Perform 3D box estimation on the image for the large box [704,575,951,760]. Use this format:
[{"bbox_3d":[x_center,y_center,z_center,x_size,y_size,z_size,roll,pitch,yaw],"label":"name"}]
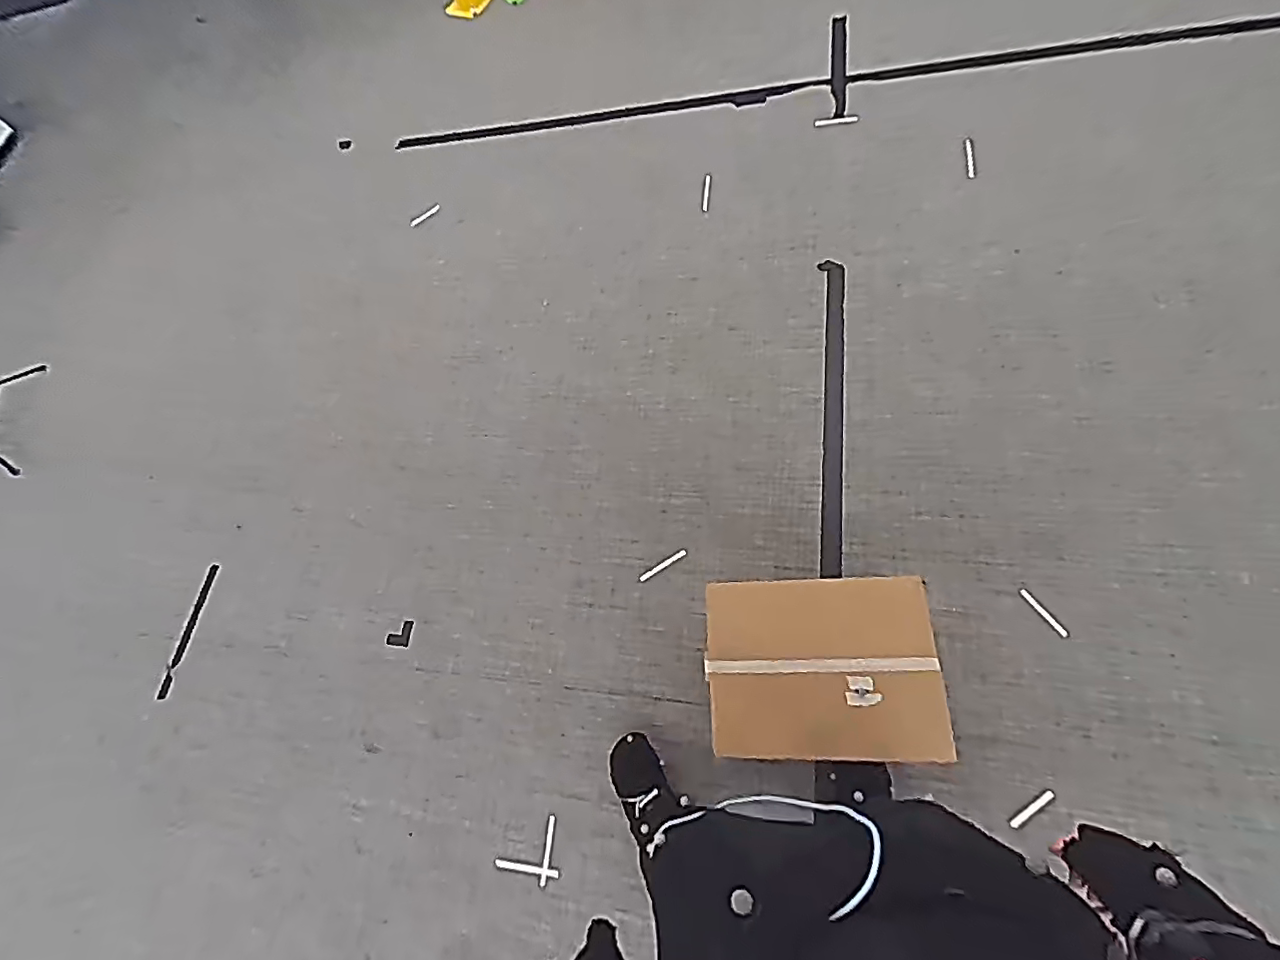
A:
[{"bbox_3d":[0.350,0.388,1.120,0.408,0.320,0.320,-4,70,10],"label":"large box"}]
